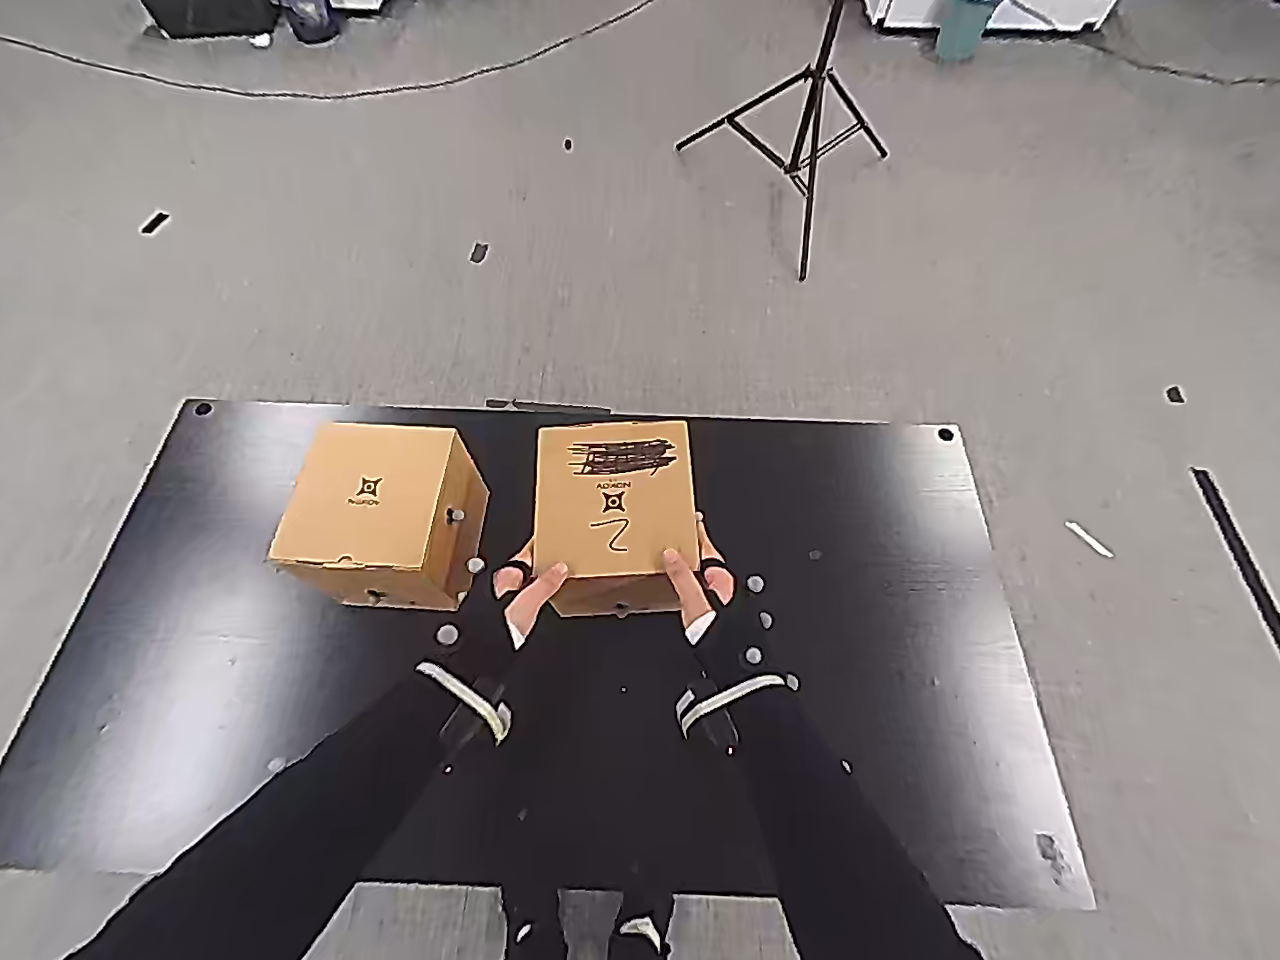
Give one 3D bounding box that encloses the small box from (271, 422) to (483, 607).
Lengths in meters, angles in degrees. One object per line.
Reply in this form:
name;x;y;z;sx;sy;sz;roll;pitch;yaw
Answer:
small box;-0.306;0.048;0.677;0.168;0.176;0.179;3;63;1
